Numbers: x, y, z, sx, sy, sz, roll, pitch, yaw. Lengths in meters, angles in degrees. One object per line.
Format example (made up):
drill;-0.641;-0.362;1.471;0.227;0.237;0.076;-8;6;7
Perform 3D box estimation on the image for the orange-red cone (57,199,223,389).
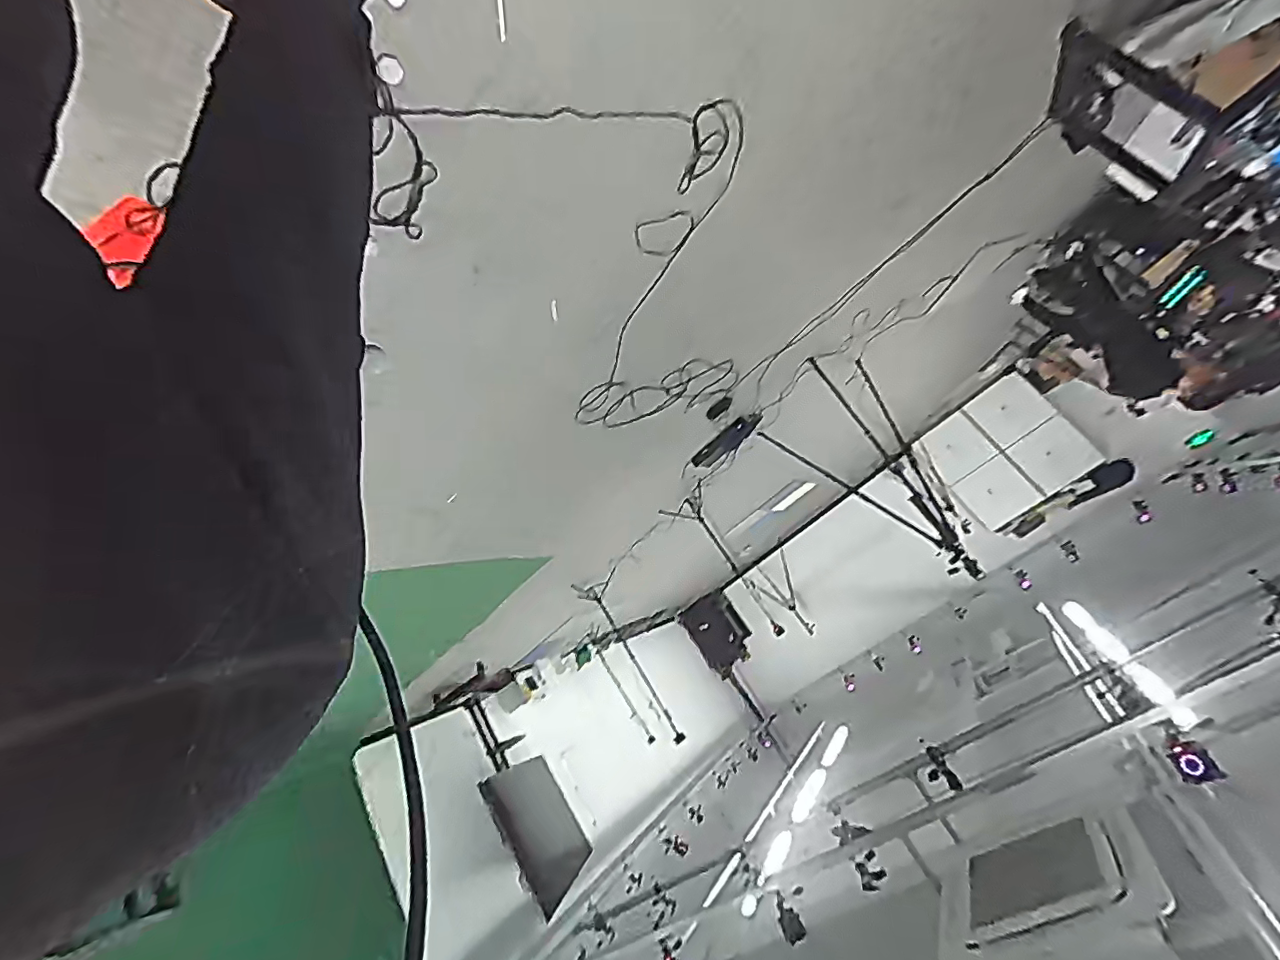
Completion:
orange-red cone;-0.908;-0.315;1.033;0.198;0.360;0.199;-34;161;3
